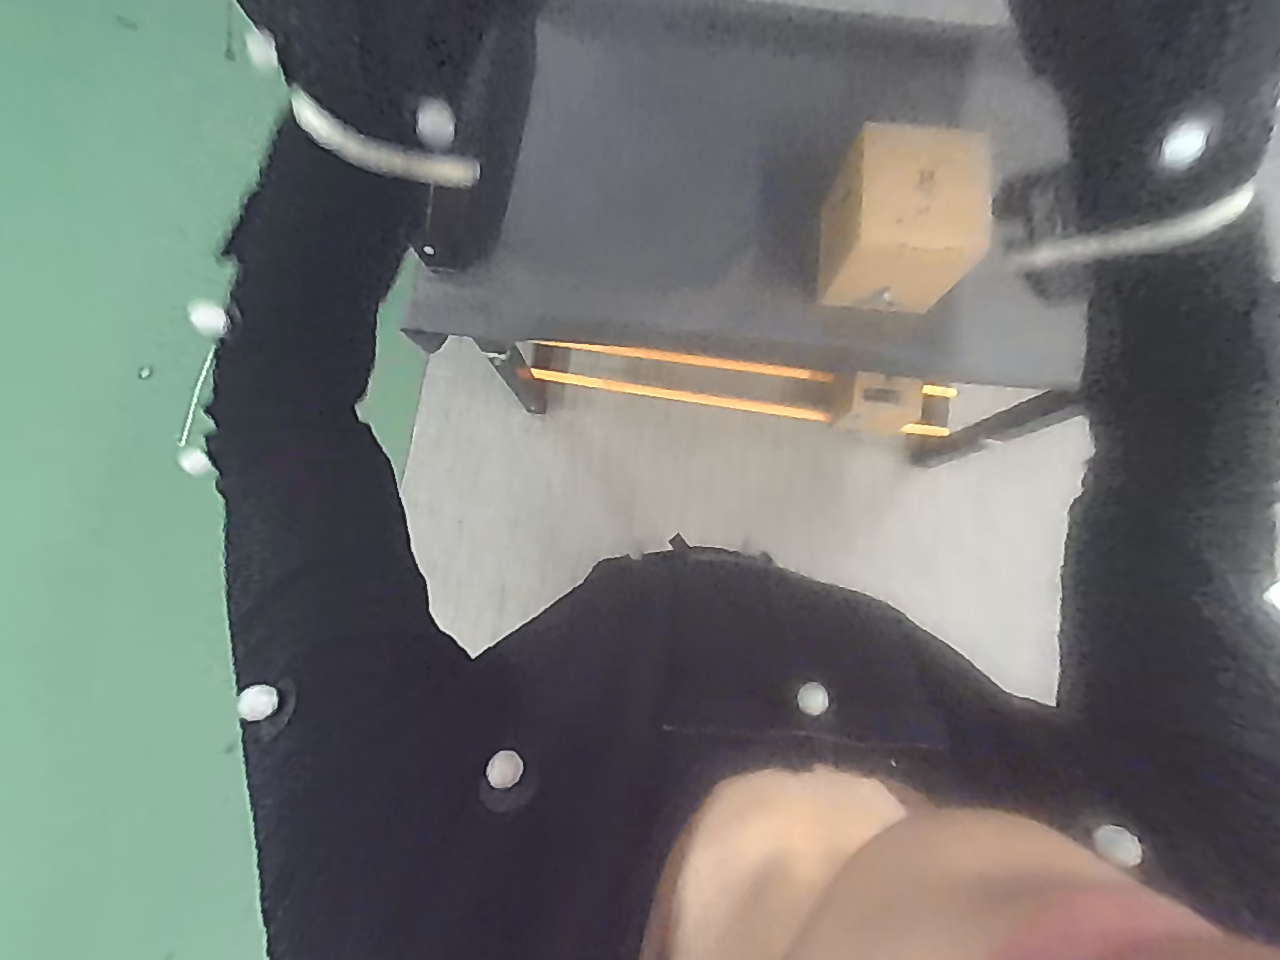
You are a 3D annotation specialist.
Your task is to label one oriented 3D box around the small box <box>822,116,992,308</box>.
[{"bbox_3d":[0.369,-0.374,0.775,0.168,0.176,0.179,6,79,2],"label":"small box"}]
